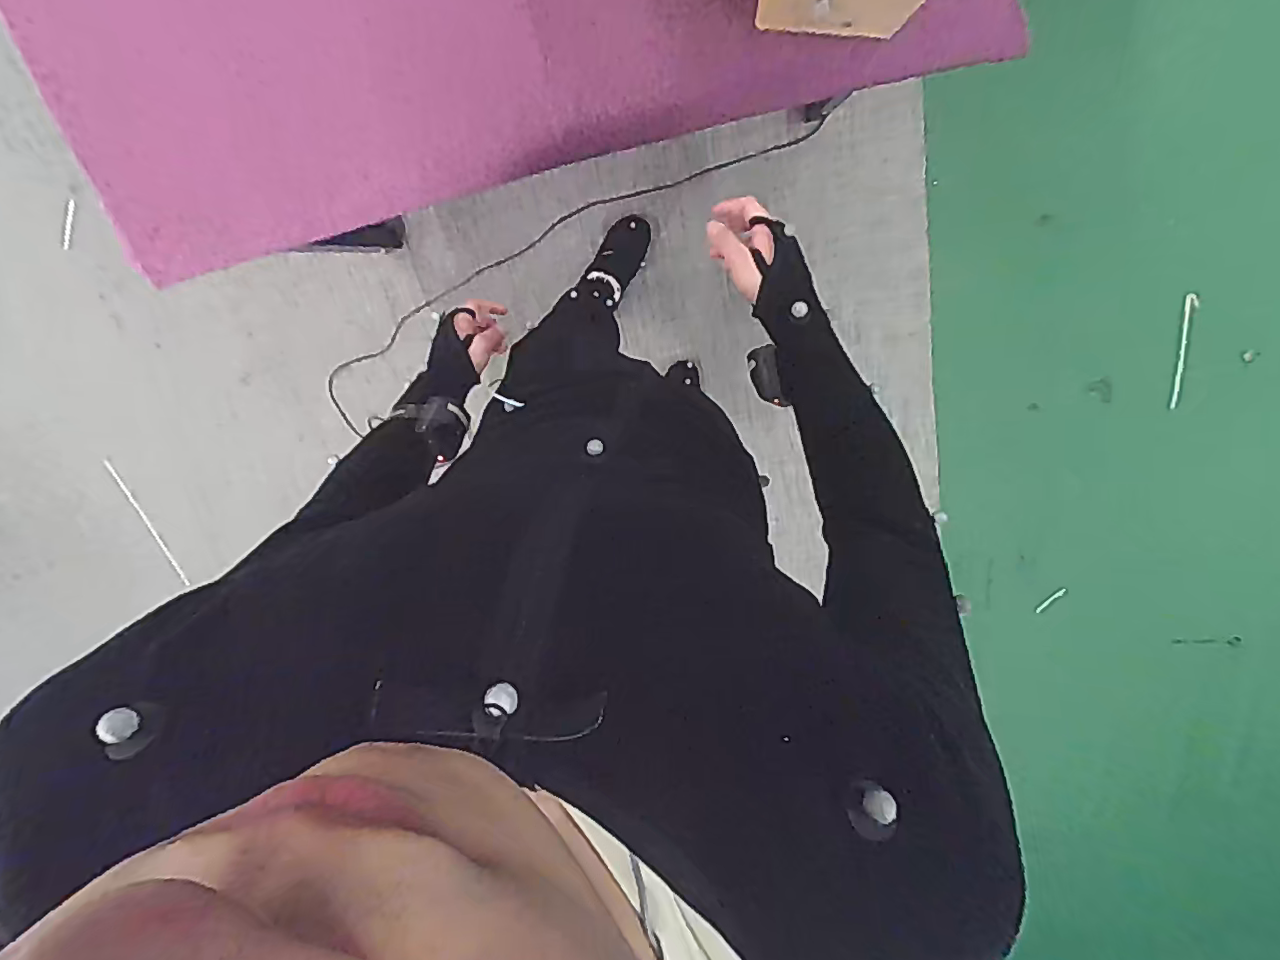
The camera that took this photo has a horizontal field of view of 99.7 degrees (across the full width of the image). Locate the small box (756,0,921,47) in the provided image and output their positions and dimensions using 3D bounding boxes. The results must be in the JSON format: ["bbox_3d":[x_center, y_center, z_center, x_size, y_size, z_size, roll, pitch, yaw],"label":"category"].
[{"bbox_3d":[0.220,-0.580,0.552,0.168,0.176,0.179,5,110,0],"label":"small box"}]
